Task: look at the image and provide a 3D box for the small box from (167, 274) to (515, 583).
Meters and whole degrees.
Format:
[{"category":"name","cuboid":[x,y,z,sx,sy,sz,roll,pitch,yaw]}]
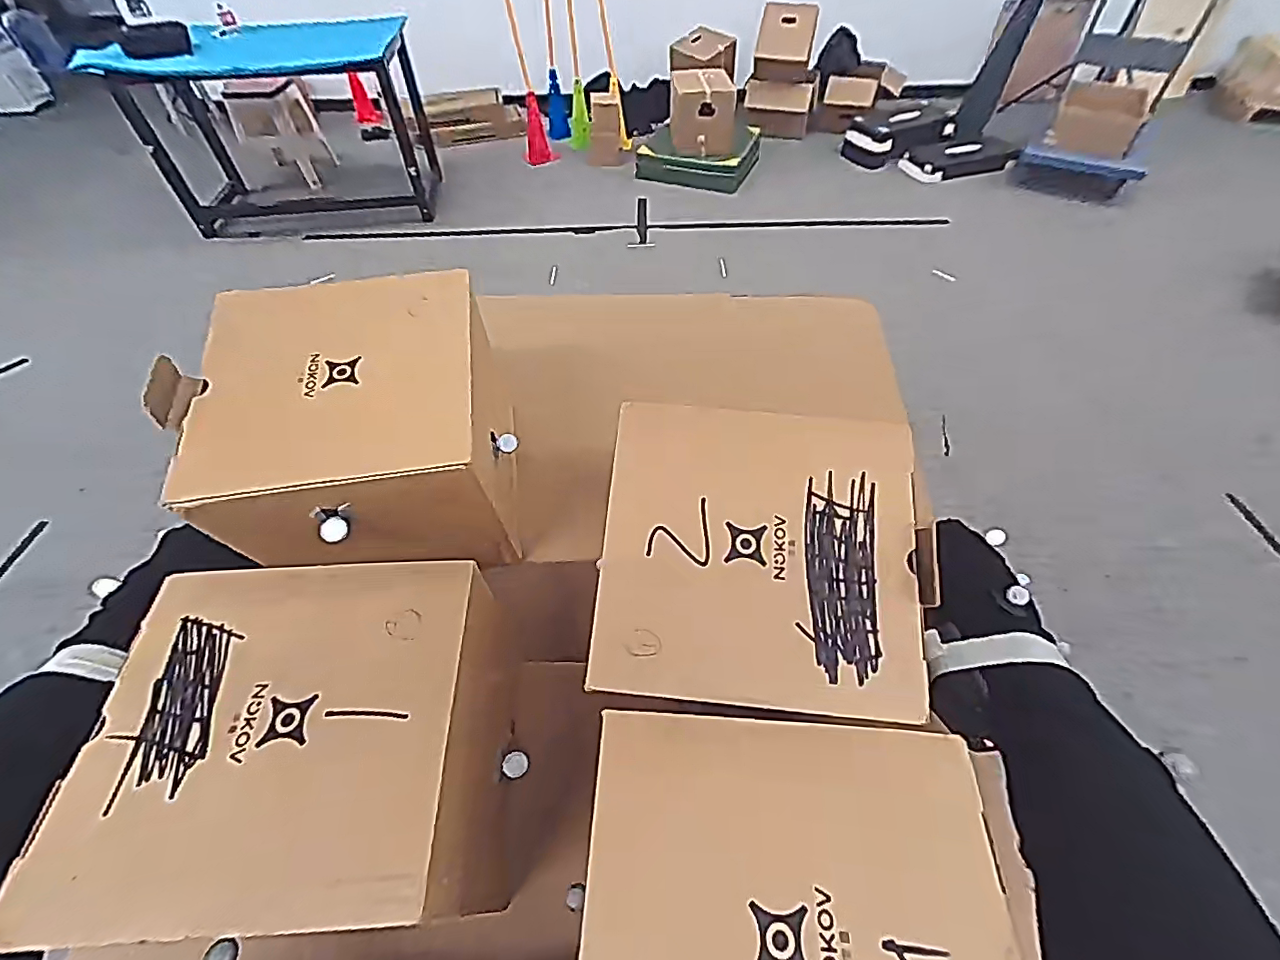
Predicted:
[{"category":"small box","cuboid":[-0.199,-0.031,0.423,0.179,0.176,0.168,-8,62,-4]}]
